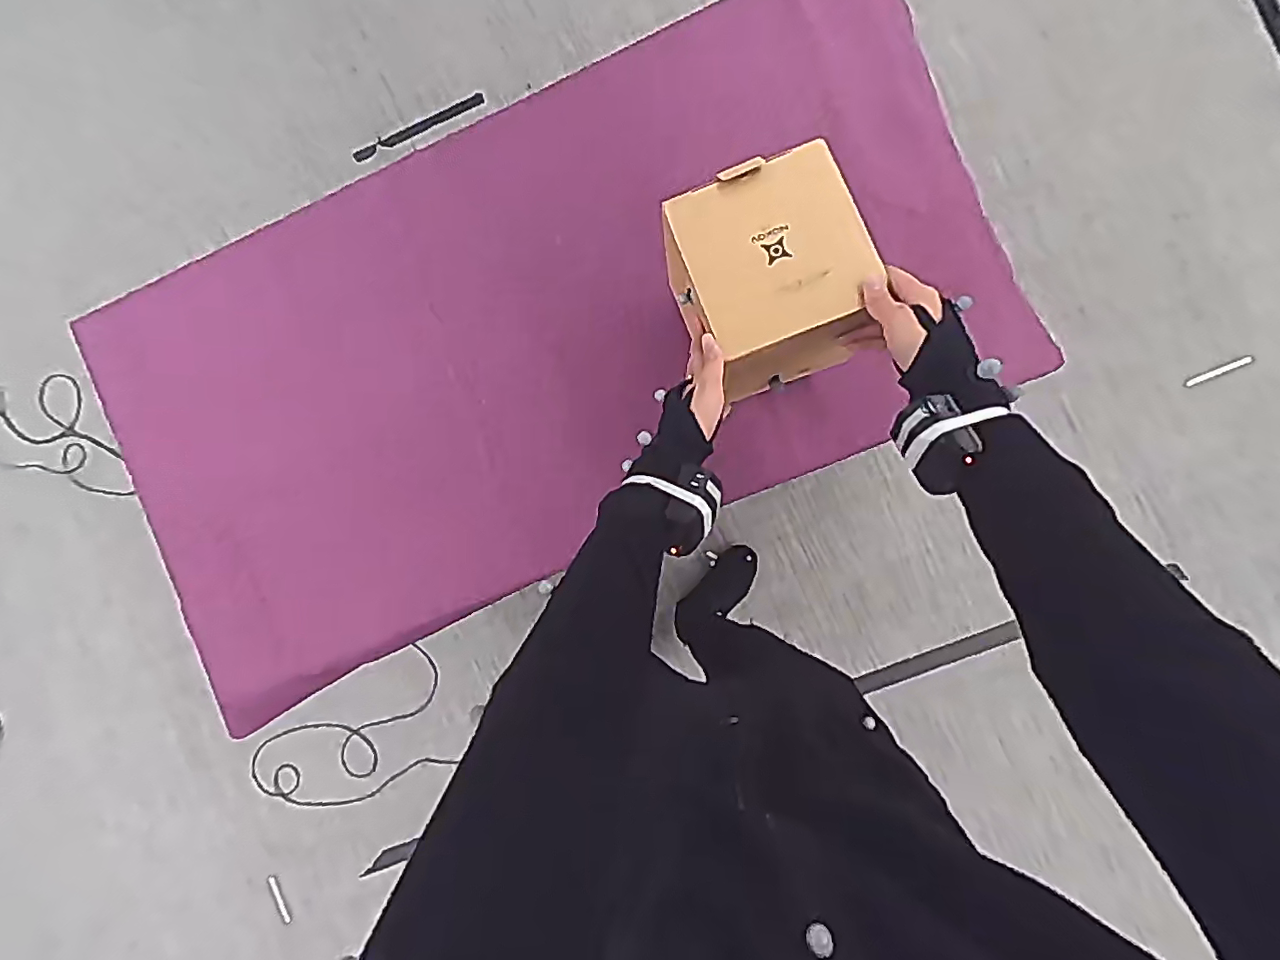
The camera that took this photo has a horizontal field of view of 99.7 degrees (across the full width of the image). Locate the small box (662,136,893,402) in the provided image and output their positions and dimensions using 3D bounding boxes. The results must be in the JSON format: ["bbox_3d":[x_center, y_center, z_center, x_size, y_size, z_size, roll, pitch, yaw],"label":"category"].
[{"bbox_3d":[0.130,-0.205,0.574,0.168,0.176,0.179,-20,81,4],"label":"small box"}]
